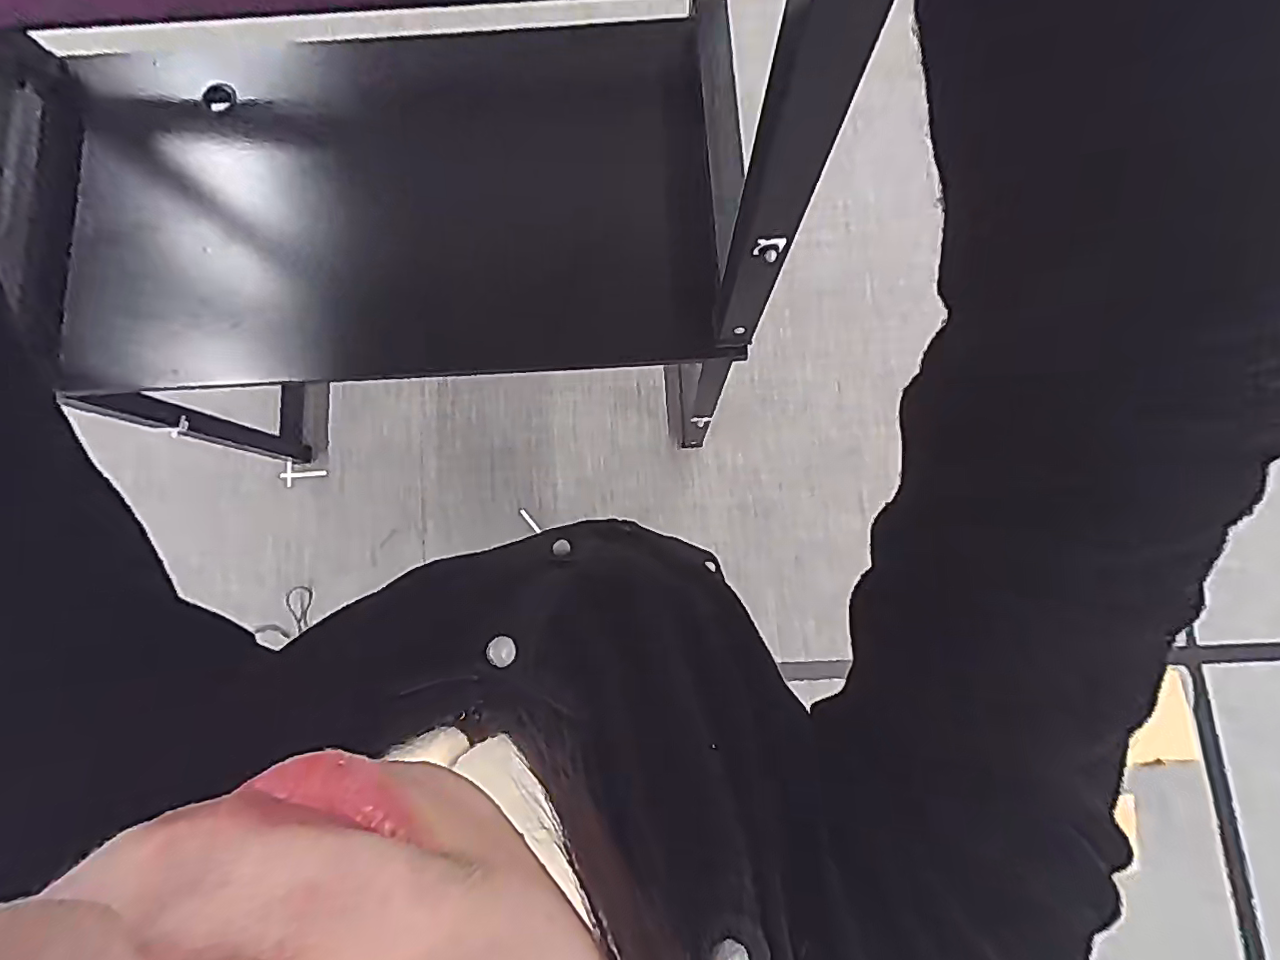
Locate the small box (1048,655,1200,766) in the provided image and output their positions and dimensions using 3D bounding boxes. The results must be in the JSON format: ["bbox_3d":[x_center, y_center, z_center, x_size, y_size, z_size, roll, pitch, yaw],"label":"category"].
[{"bbox_3d":[1.041,0.494,1.179,0.168,0.176,0.179,-6,83,0],"label":"small box"}]
